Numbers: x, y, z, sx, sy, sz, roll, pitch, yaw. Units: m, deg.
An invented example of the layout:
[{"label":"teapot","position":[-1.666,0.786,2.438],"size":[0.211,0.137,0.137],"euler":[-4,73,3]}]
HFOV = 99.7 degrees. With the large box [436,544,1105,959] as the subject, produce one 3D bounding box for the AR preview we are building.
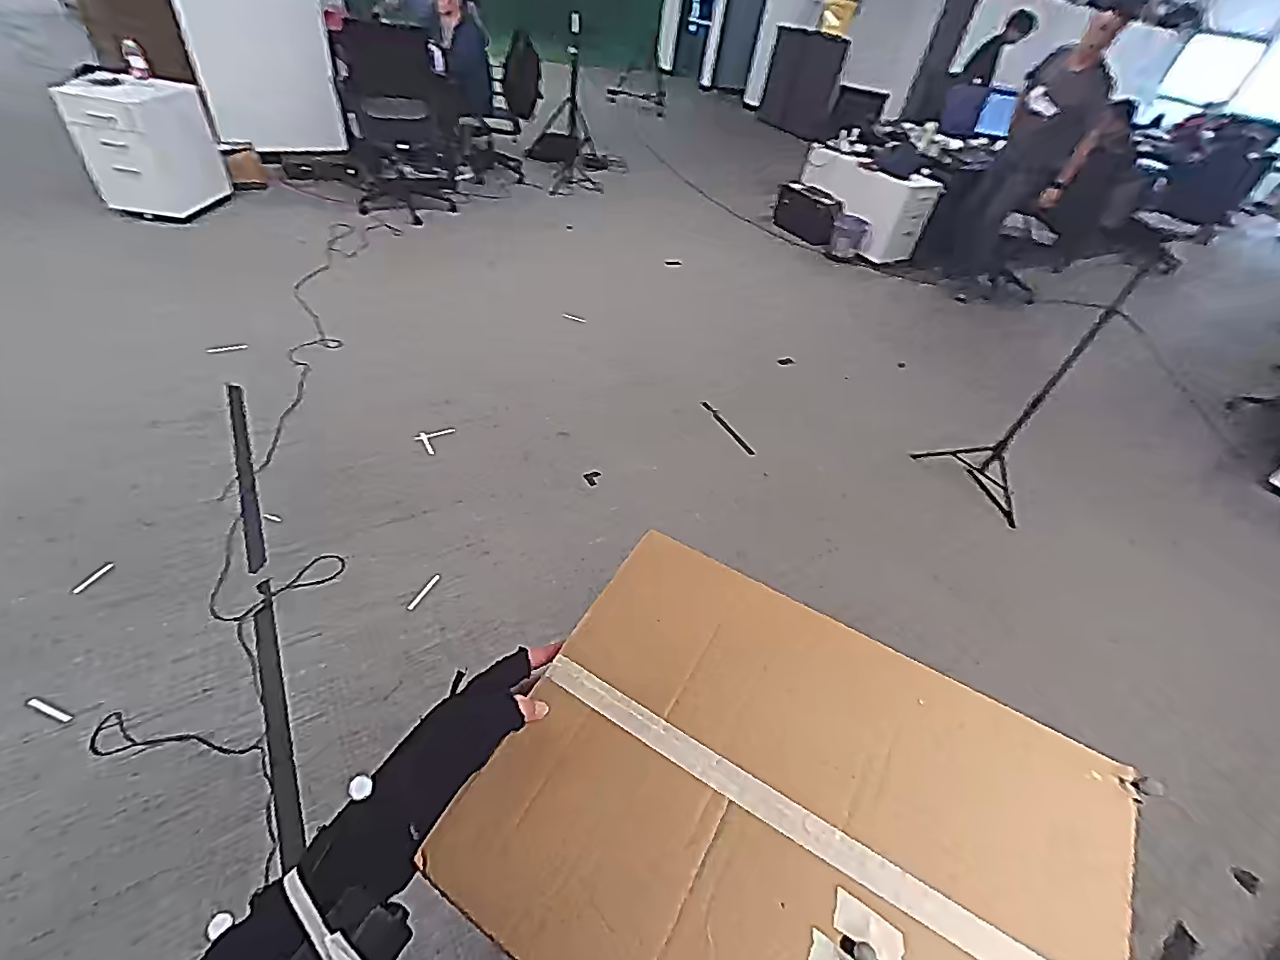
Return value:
[{"label":"large box","position":[0.102,0.332,0.505],"size":[0.408,0.320,0.320],"euler":[25,56,20]}]
